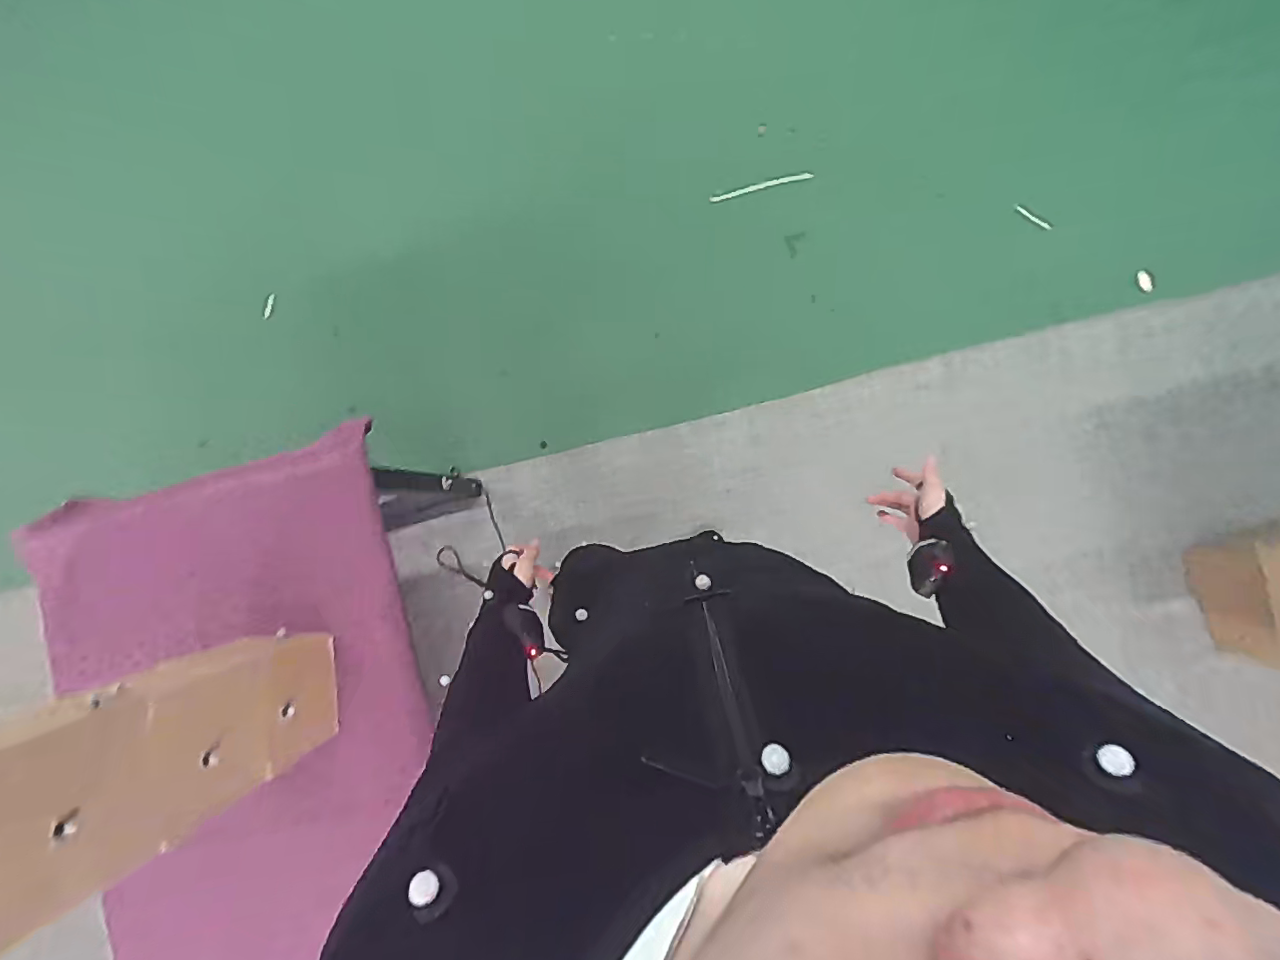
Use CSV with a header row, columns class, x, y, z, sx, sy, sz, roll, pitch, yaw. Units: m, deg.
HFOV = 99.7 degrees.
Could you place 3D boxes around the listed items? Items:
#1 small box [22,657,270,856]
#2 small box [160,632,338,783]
class,x,y,z,sx,sy,sz,roll,pitch,yaw
small box,-0.613,0.346,0.693,0.168,0.176,0.179,-8,89,2
small box,-0.605,0.352,0.855,0.168,0.176,0.179,-5,88,3
